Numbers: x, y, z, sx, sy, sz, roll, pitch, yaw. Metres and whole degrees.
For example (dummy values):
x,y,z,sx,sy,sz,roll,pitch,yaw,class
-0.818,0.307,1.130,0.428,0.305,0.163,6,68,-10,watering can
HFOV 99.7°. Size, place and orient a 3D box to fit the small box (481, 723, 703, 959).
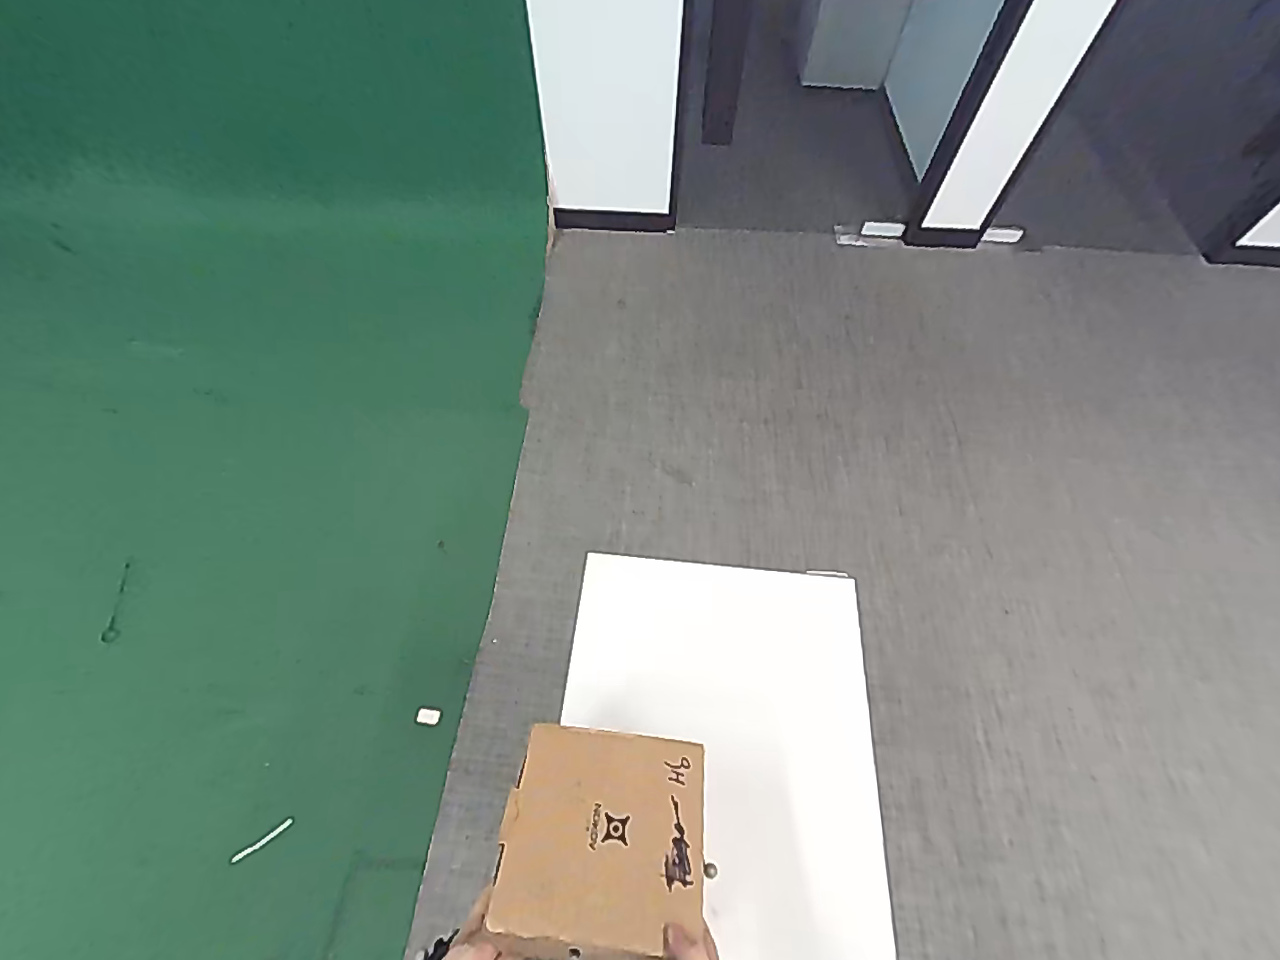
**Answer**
x,y,z,sx,sy,sz,roll,pitch,yaw,class
-0.037,0.368,0.535,0.179,0.176,0.168,7,42,2,small box
